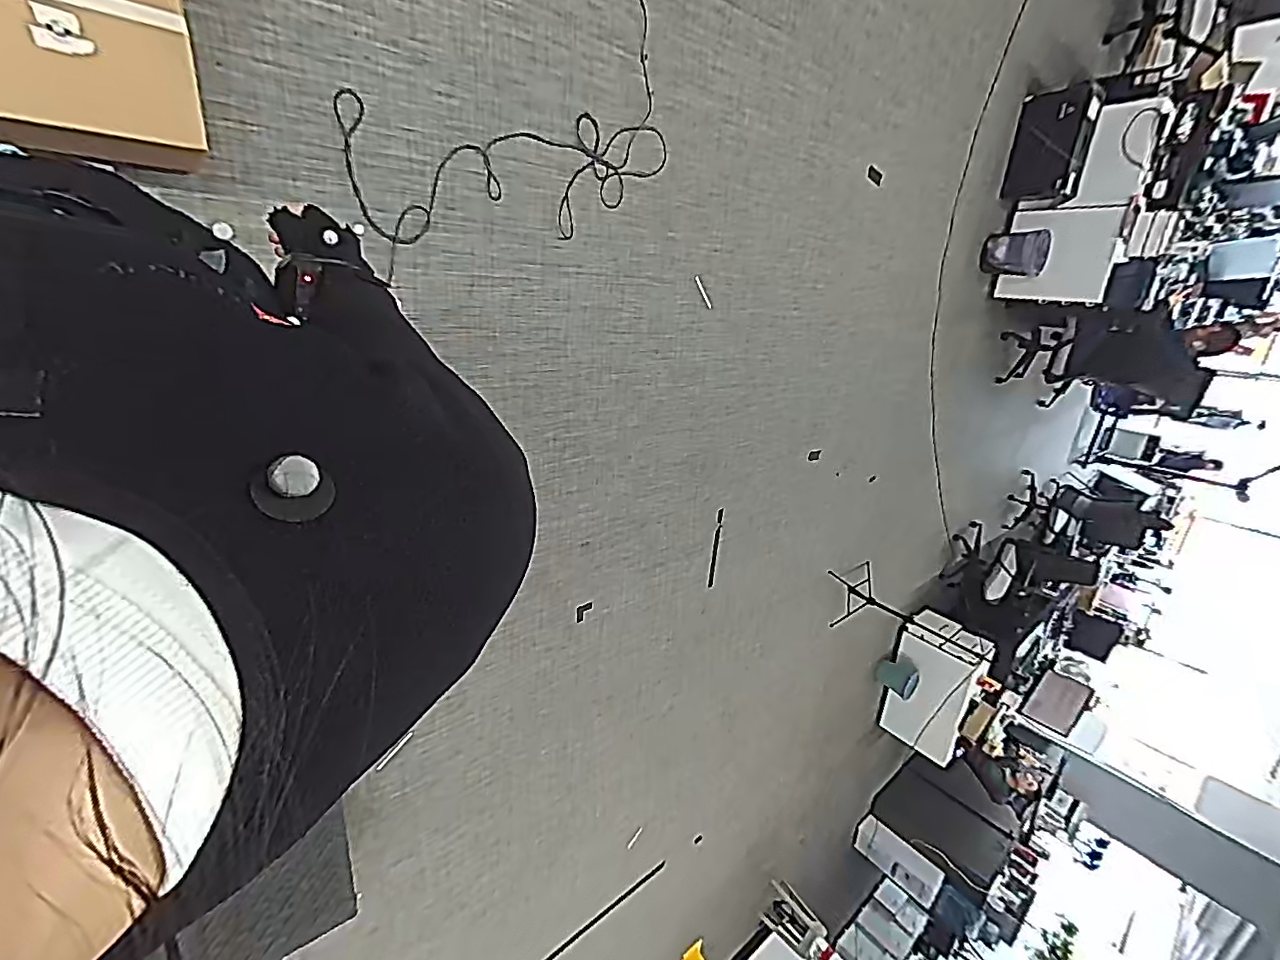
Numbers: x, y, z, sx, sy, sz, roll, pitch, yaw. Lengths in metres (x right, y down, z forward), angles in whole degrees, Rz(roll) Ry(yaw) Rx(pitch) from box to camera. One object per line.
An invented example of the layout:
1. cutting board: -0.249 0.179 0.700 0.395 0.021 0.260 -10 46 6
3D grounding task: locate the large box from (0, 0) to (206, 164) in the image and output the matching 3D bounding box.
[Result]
1. large box: -0.904 -0.666 0.758 0.408 0.320 0.320 -13 117 -39

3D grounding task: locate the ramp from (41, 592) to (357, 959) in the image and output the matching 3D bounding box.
1. ramp: -1.035 0.808 1.347 0.509 0.206 0.991 -12 114 -37
